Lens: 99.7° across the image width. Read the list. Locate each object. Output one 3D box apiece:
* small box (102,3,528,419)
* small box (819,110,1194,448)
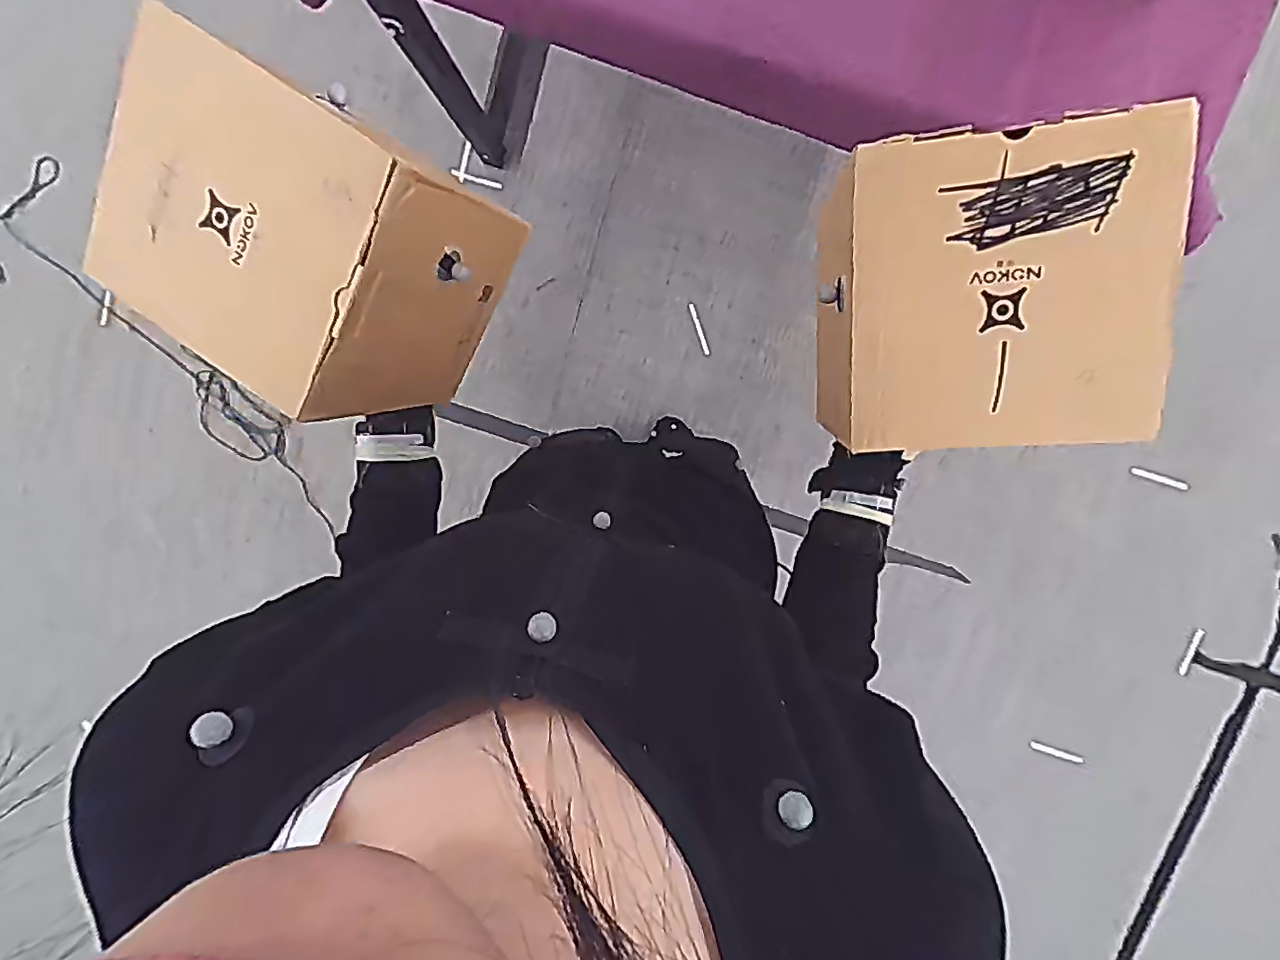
[{"bbox_3d":[-0.210,-0.166,0.387,0.179,0.176,0.168,34,107,5],"label":"small box"},{"bbox_3d":[0.224,-0.122,0.386,0.168,0.176,0.179,-1,103,11],"label":"small box"}]
